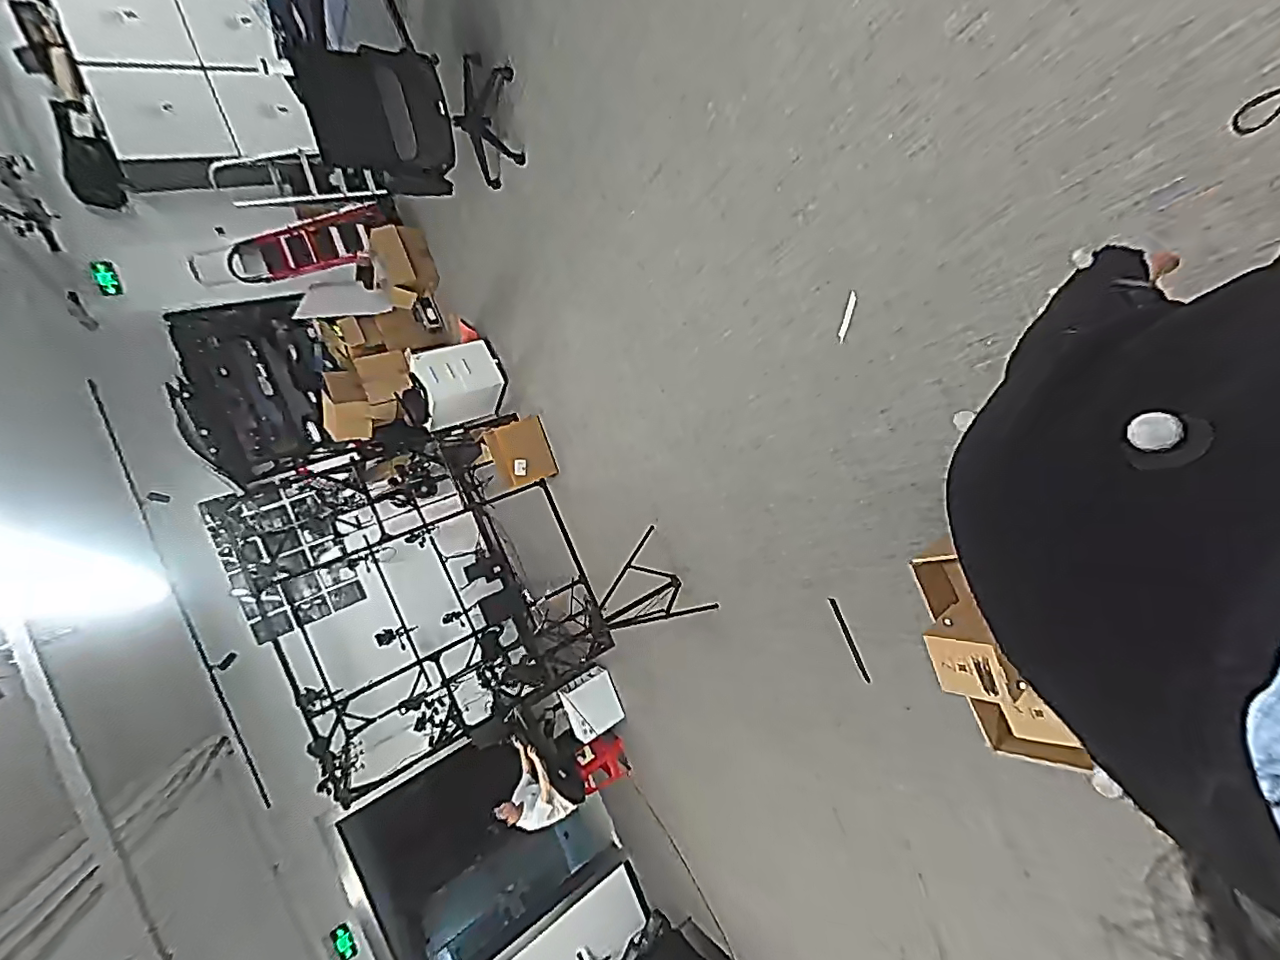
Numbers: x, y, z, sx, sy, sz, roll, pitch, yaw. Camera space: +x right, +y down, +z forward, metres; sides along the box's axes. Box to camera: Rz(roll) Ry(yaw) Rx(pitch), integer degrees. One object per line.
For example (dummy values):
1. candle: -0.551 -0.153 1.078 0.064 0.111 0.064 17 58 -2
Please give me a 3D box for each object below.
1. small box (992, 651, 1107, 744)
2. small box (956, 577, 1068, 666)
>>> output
1. small box: 1.093 0.567 1.436 0.179 0.176 0.168 -28 83 60
2. small box: 1.002 0.371 1.456 0.179 0.176 0.168 -15 99 59
